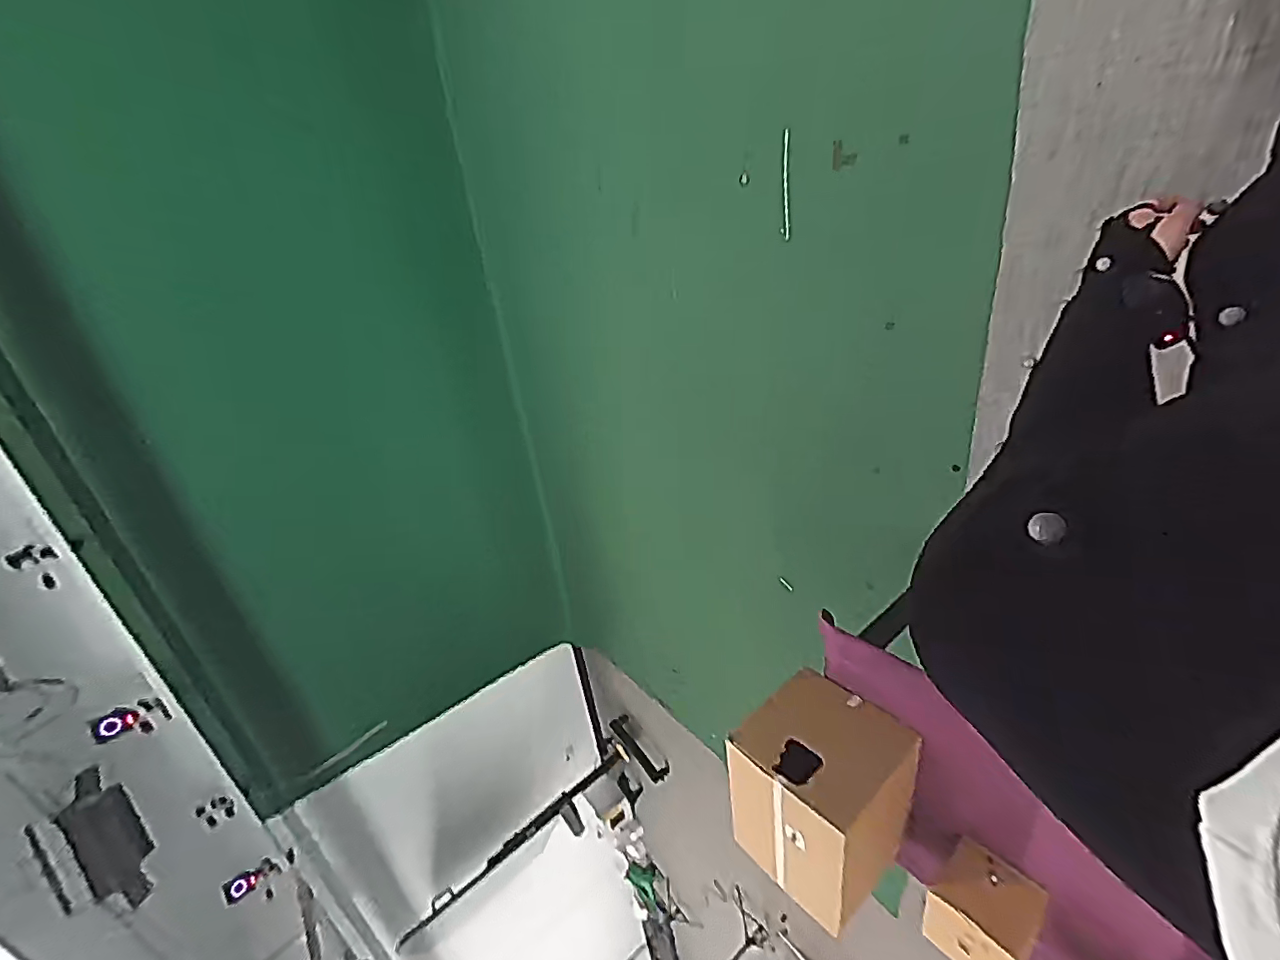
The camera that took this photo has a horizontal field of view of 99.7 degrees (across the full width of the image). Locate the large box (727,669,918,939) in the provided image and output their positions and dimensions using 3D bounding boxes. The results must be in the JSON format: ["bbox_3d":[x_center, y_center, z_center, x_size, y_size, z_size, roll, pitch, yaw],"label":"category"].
[{"bbox_3d":[0.438,0.758,1.311,0.320,0.320,0.408,22,128,46],"label":"large box"}]

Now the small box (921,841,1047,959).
[{"bbox_3d":[0.722,0.924,1.138,0.168,0.176,0.179,22,128,47],"label":"small box"}]
